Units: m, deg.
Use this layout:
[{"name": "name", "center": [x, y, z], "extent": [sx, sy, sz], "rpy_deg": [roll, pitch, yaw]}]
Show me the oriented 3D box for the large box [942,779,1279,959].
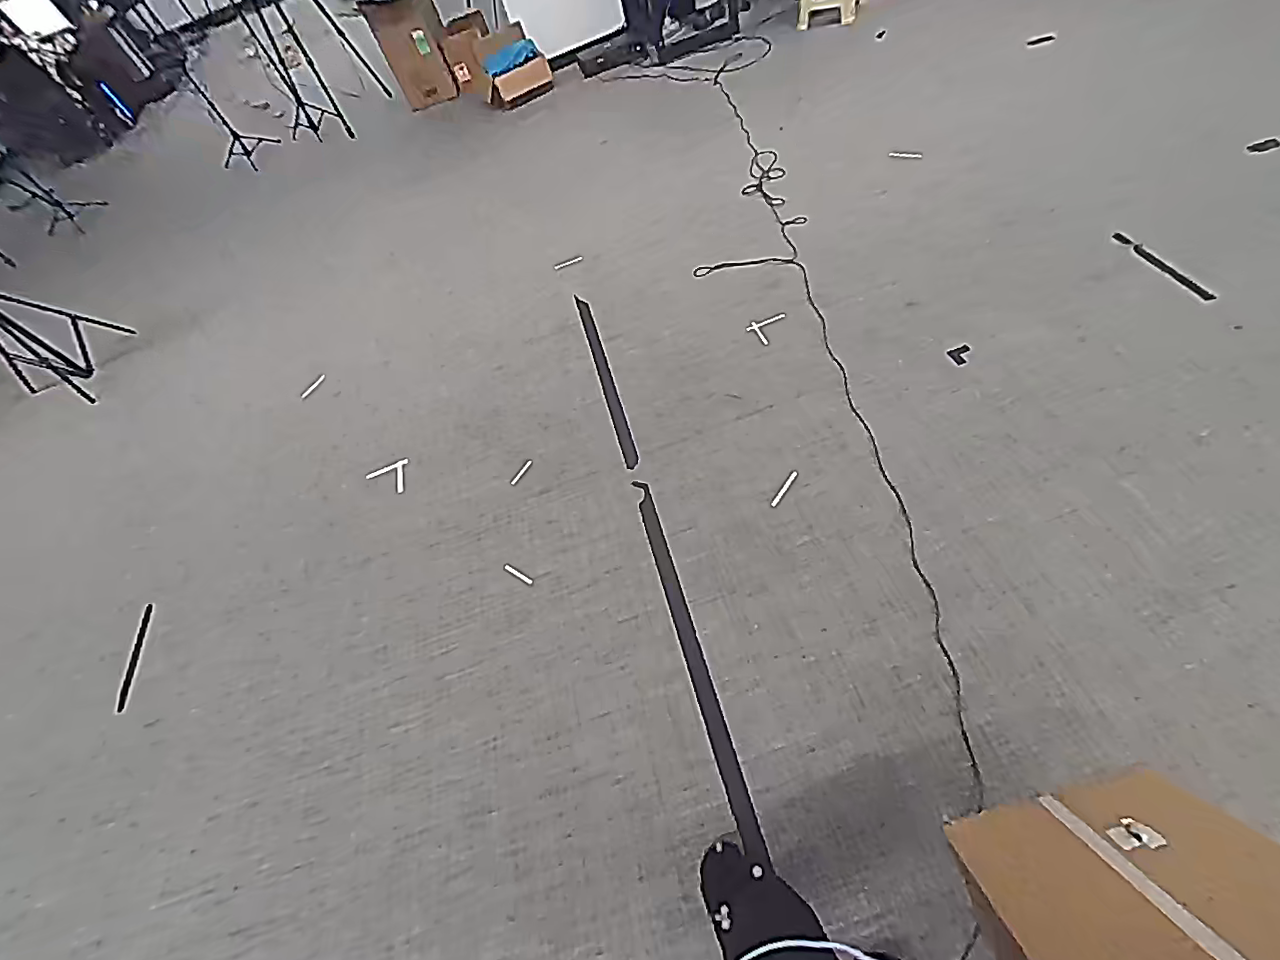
[{"name": "large box", "center": [0.629, 0.615, 0.606], "extent": [0.320, 0.408, 0.320], "rpy_deg": [-20, 80, 7]}]
